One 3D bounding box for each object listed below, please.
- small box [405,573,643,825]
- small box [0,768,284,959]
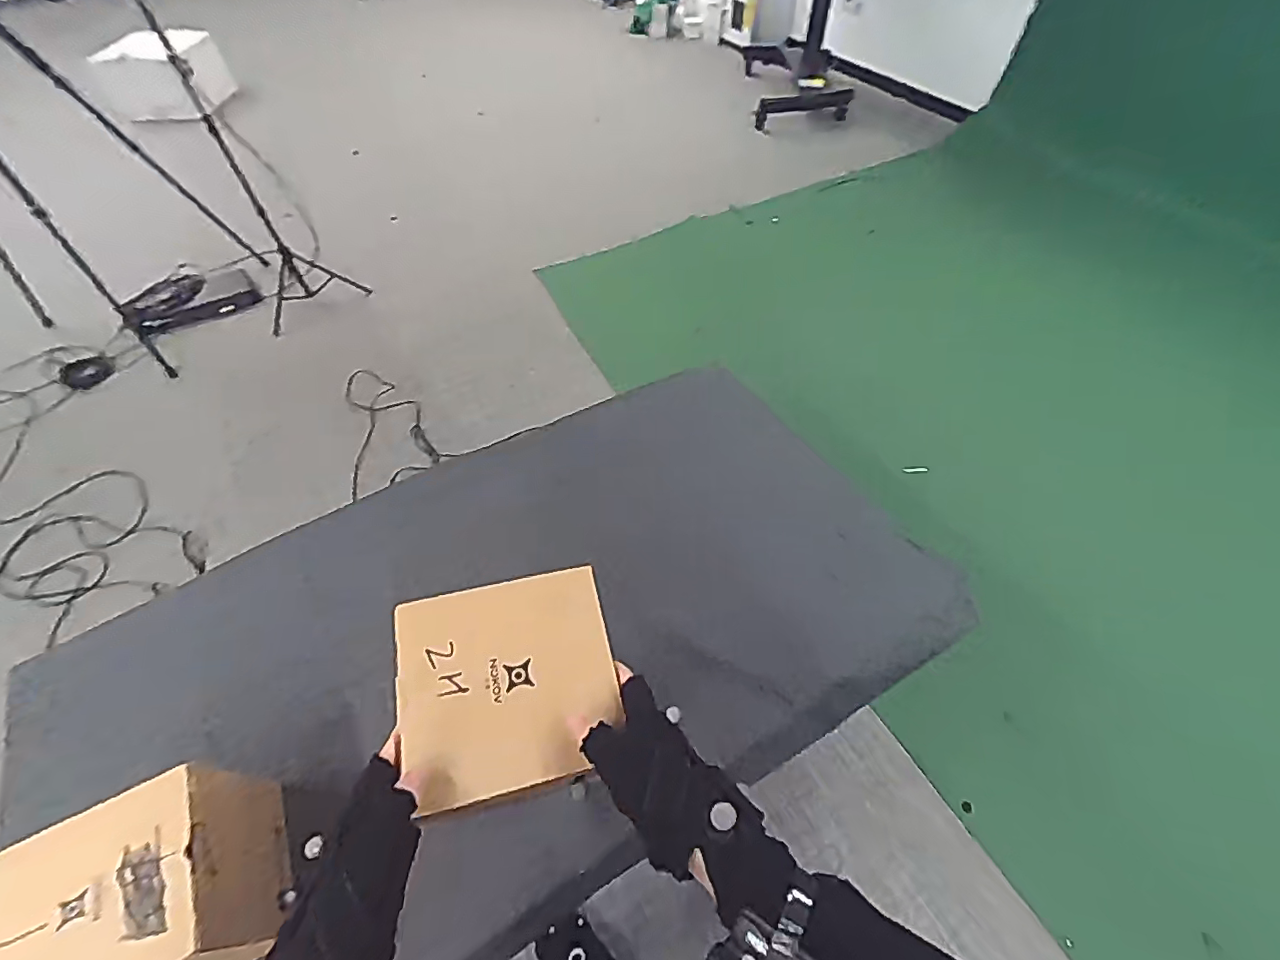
[{"bbox_3d":[-0.108,0.207,0.509,0.179,0.176,0.168,-10,59,-12],"label":"small box"},{"bbox_3d":[-0.484,0.419,0.535,0.179,0.176,0.168,-24,57,-16],"label":"small box"}]
